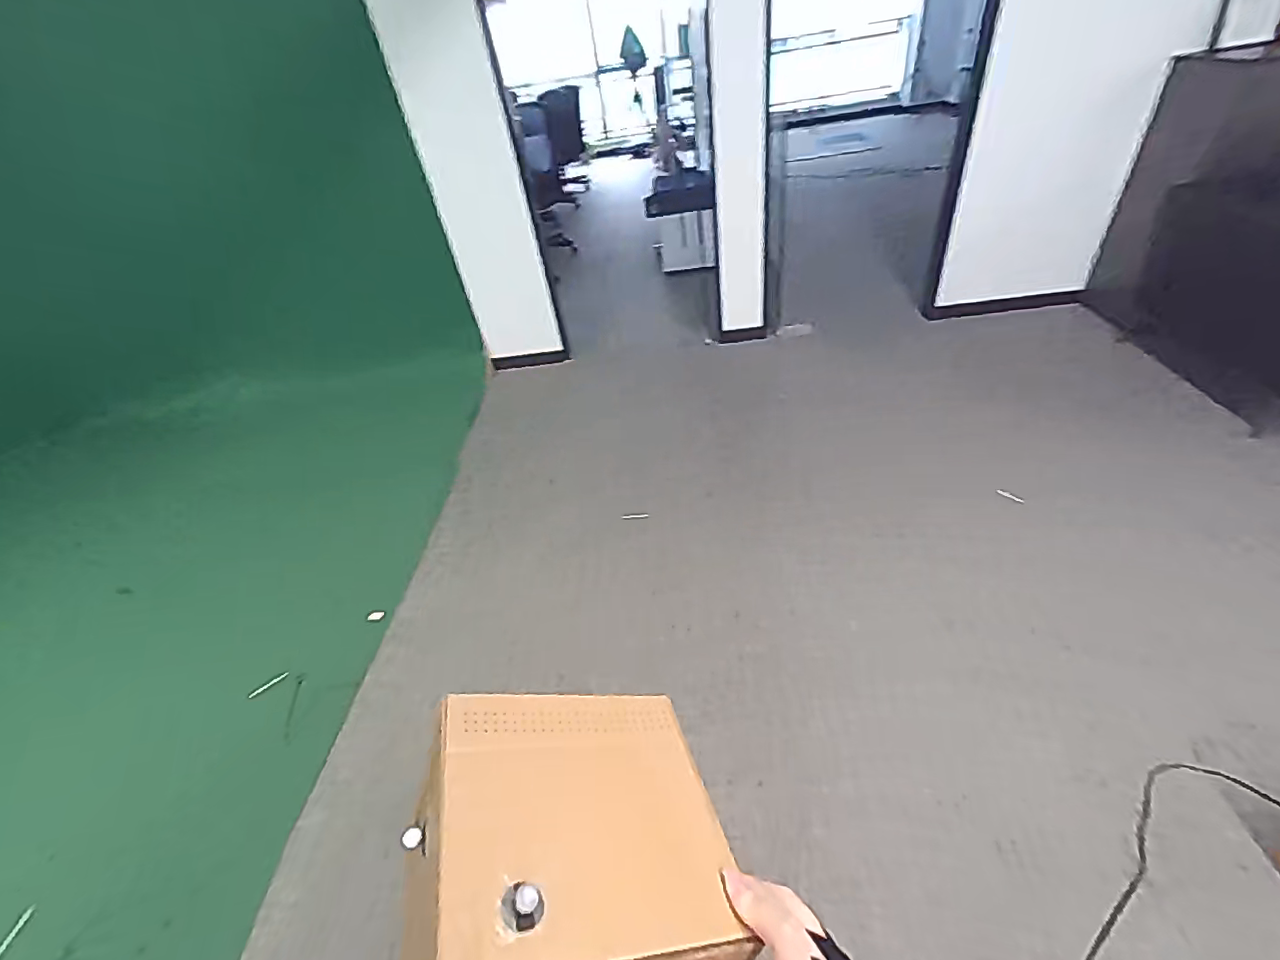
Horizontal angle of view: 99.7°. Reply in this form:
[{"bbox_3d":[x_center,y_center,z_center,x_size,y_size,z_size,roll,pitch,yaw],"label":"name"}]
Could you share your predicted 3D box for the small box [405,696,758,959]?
[{"bbox_3d":[-0.056,0.272,0.374,0.179,0.168,0.176,11,23,-21],"label":"small box"}]
